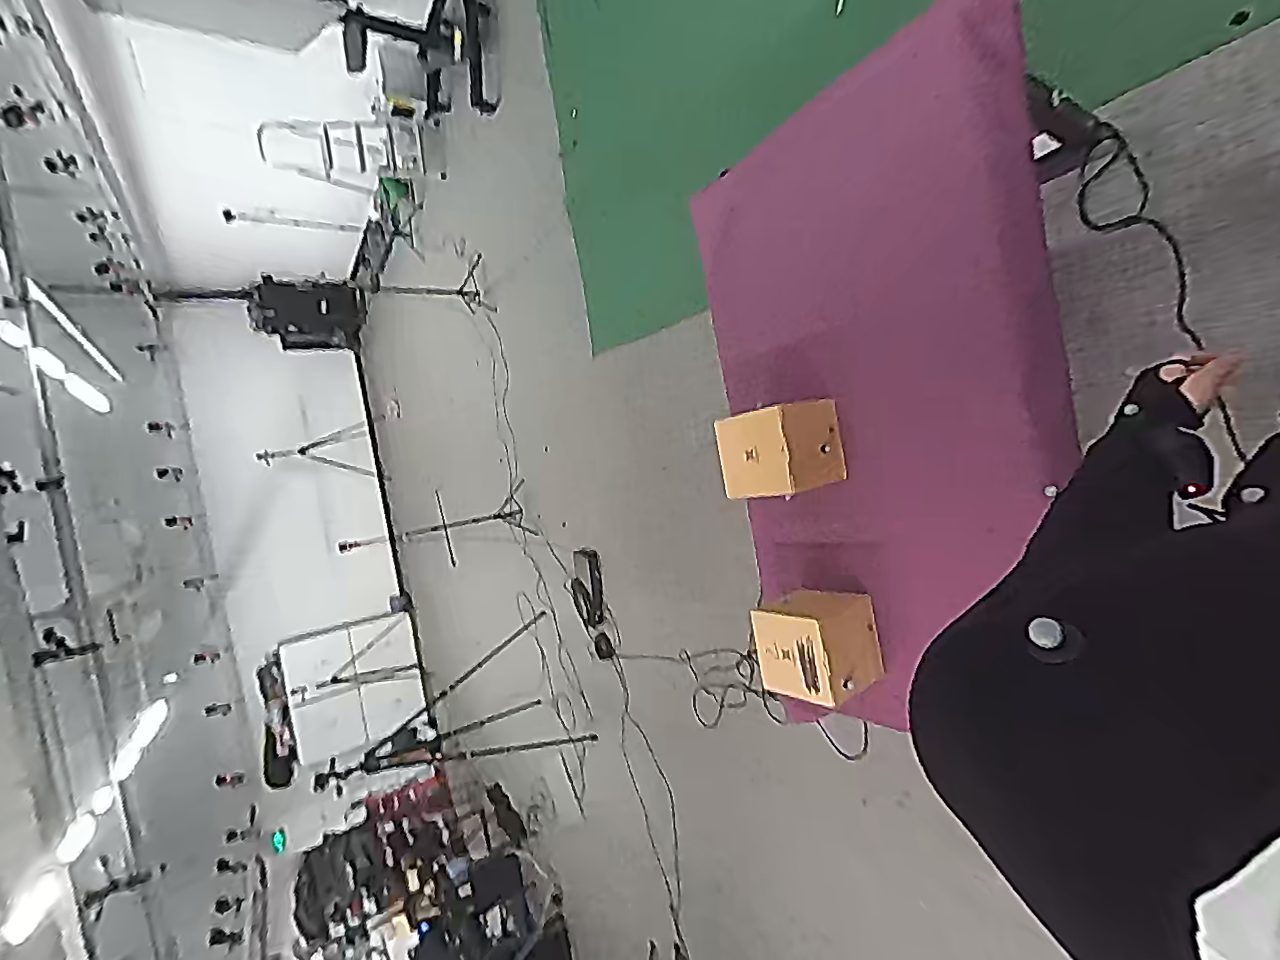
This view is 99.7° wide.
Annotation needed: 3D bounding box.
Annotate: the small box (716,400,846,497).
[{"bbox_3d":[0.284,-0.062,1.093,0.179,0.176,0.168,-10,91,54],"label":"small box"}]
